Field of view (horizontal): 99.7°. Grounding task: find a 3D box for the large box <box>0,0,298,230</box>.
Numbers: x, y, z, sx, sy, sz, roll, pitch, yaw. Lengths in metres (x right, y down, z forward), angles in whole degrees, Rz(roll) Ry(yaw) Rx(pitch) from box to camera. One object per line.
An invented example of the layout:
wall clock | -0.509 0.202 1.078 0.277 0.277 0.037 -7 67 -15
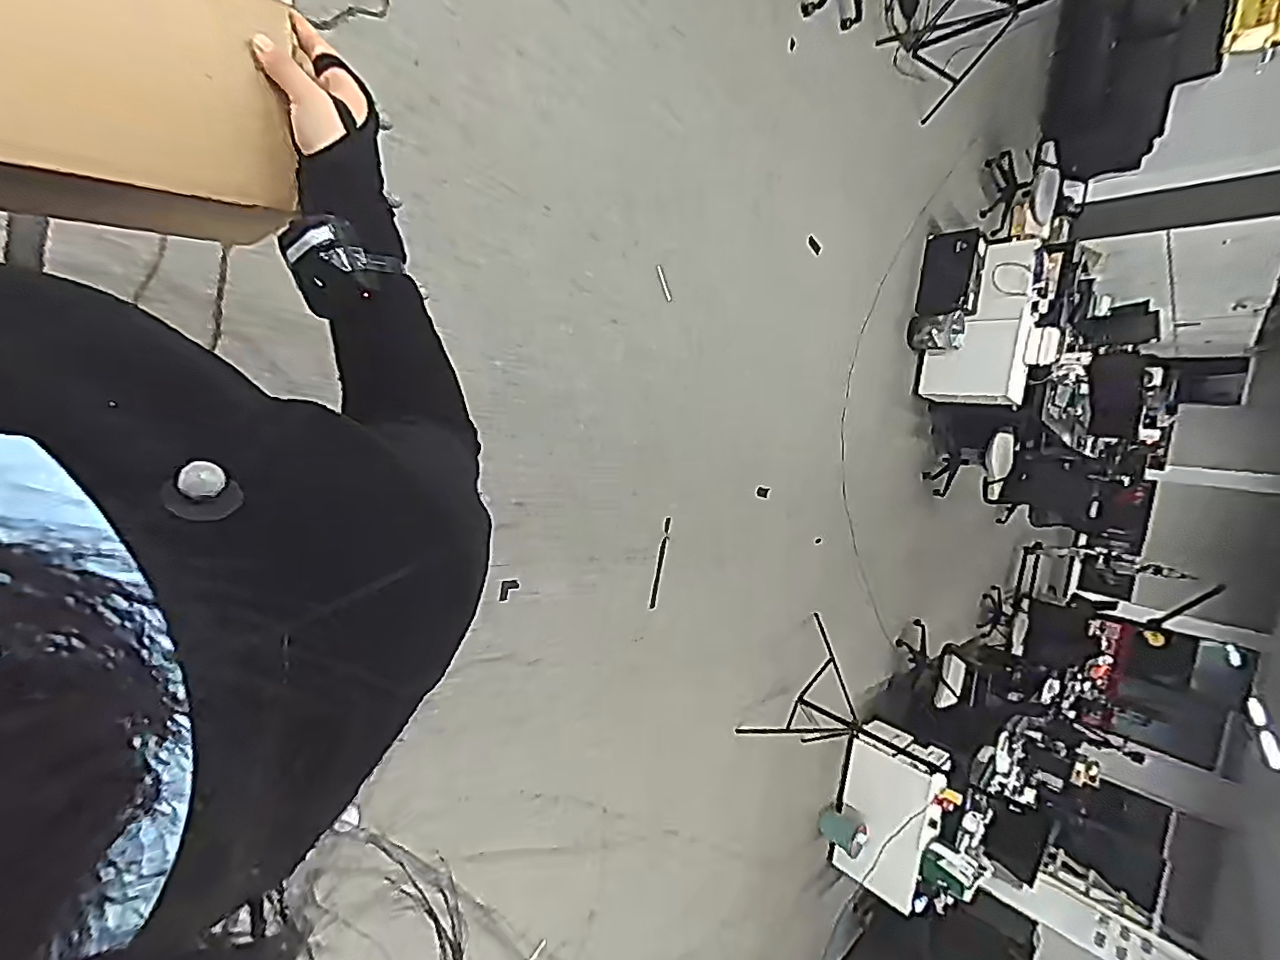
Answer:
large box | -0.525 -0.389 0.396 0.408 0.320 0.320 -9 109 -41
